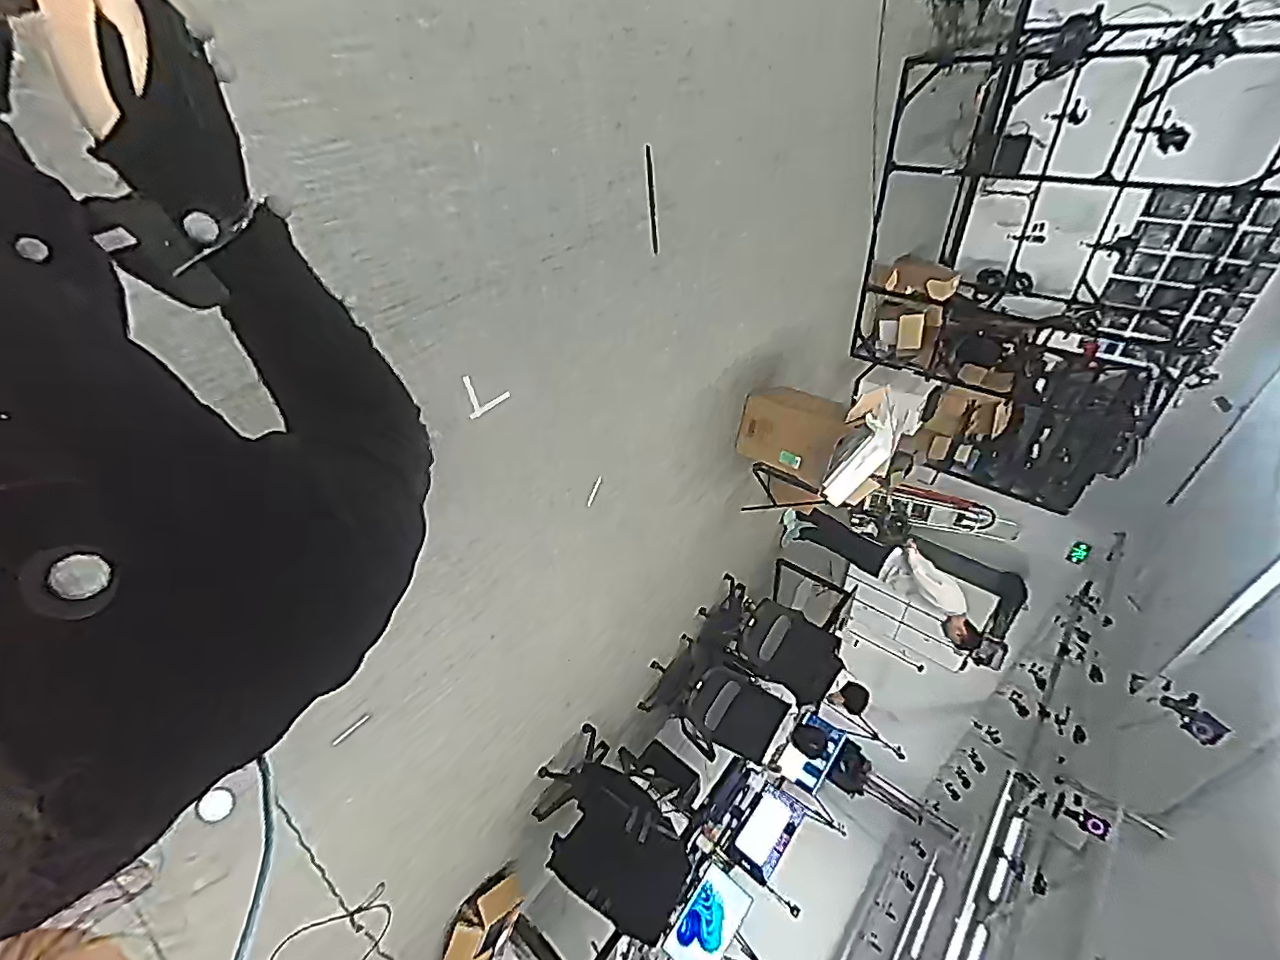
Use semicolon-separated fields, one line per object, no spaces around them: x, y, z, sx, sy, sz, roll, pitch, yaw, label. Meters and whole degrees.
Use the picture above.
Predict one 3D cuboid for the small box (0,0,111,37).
-0.346;-0.310;0.200;0.168;0.176;0.179;-17;121;-62;small box
